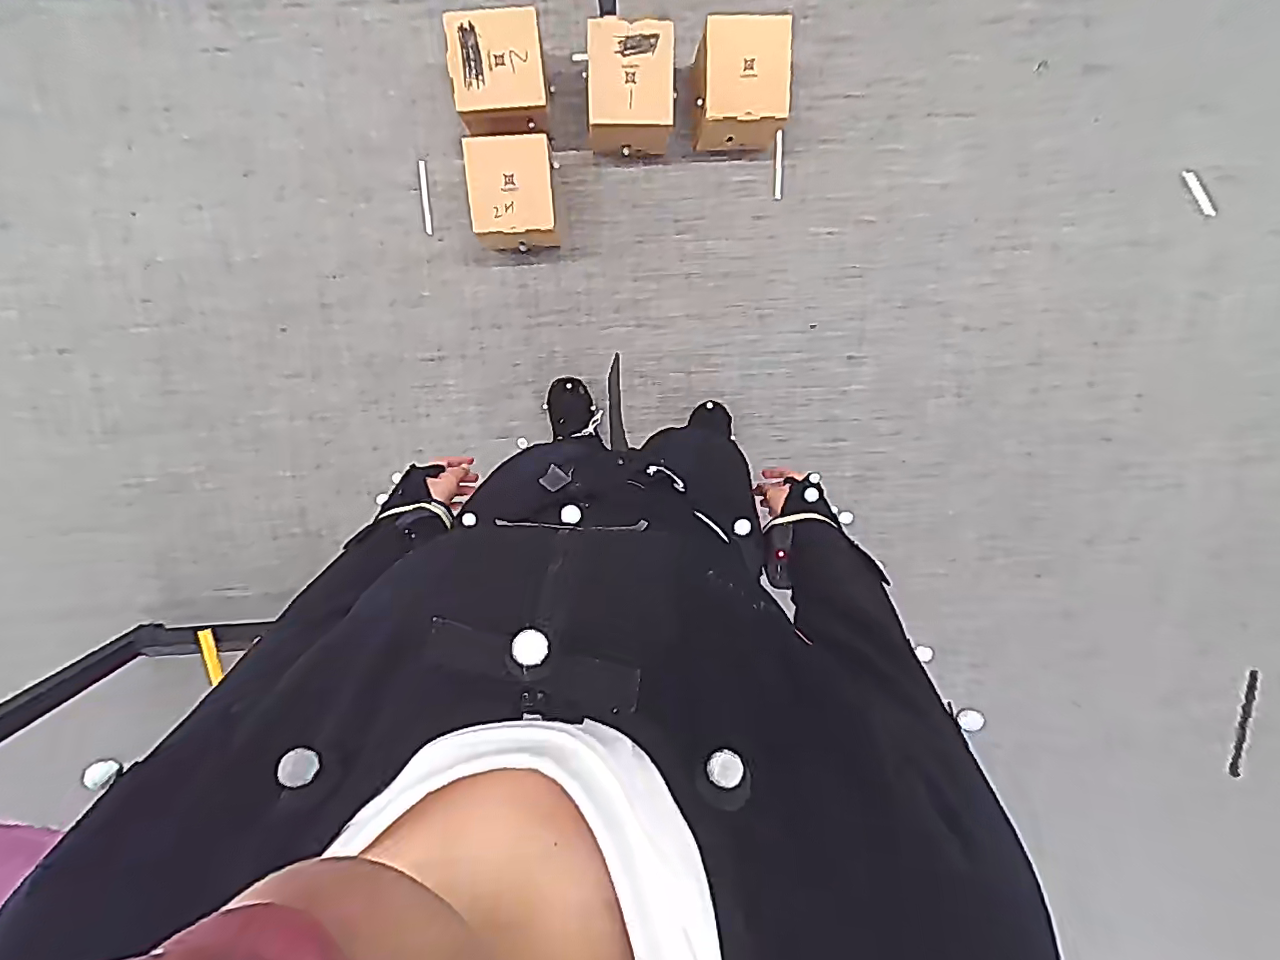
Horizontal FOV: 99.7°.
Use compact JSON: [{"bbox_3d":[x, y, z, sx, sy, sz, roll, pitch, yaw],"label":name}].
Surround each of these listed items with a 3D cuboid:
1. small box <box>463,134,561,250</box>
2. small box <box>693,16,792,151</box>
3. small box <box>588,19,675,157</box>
[{"bbox_3d":[-0.261,-0.595,1.135,0.168,0.176,0.179,-4,103,-2],"label":"small box"},{"bbox_3d":[0.204,-0.808,1.116,0.168,0.176,0.179,-3,103,-3],"label":"small box"},{"bbox_3d":[-0.022,-0.790,1.104,0.168,0.176,0.179,-1,104,-3],"label":"small box"}]
